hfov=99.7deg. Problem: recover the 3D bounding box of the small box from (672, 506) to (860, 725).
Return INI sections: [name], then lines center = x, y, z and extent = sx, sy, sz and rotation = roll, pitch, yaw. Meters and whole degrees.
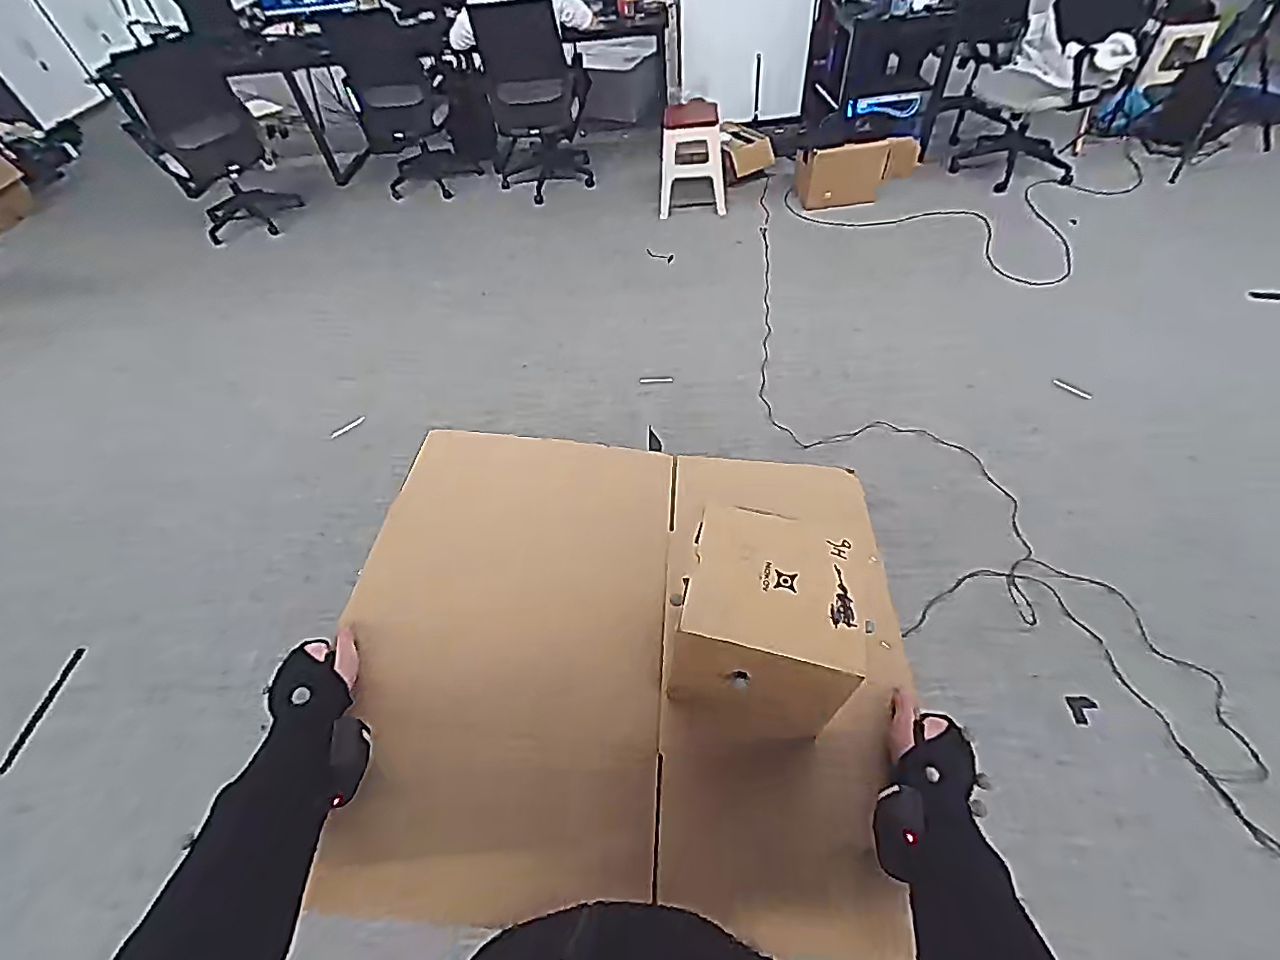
[small box]
center = 0.137, 0.157, 0.616
extent = 0.179, 0.176, 0.168
rotation = 11, 49, 9
